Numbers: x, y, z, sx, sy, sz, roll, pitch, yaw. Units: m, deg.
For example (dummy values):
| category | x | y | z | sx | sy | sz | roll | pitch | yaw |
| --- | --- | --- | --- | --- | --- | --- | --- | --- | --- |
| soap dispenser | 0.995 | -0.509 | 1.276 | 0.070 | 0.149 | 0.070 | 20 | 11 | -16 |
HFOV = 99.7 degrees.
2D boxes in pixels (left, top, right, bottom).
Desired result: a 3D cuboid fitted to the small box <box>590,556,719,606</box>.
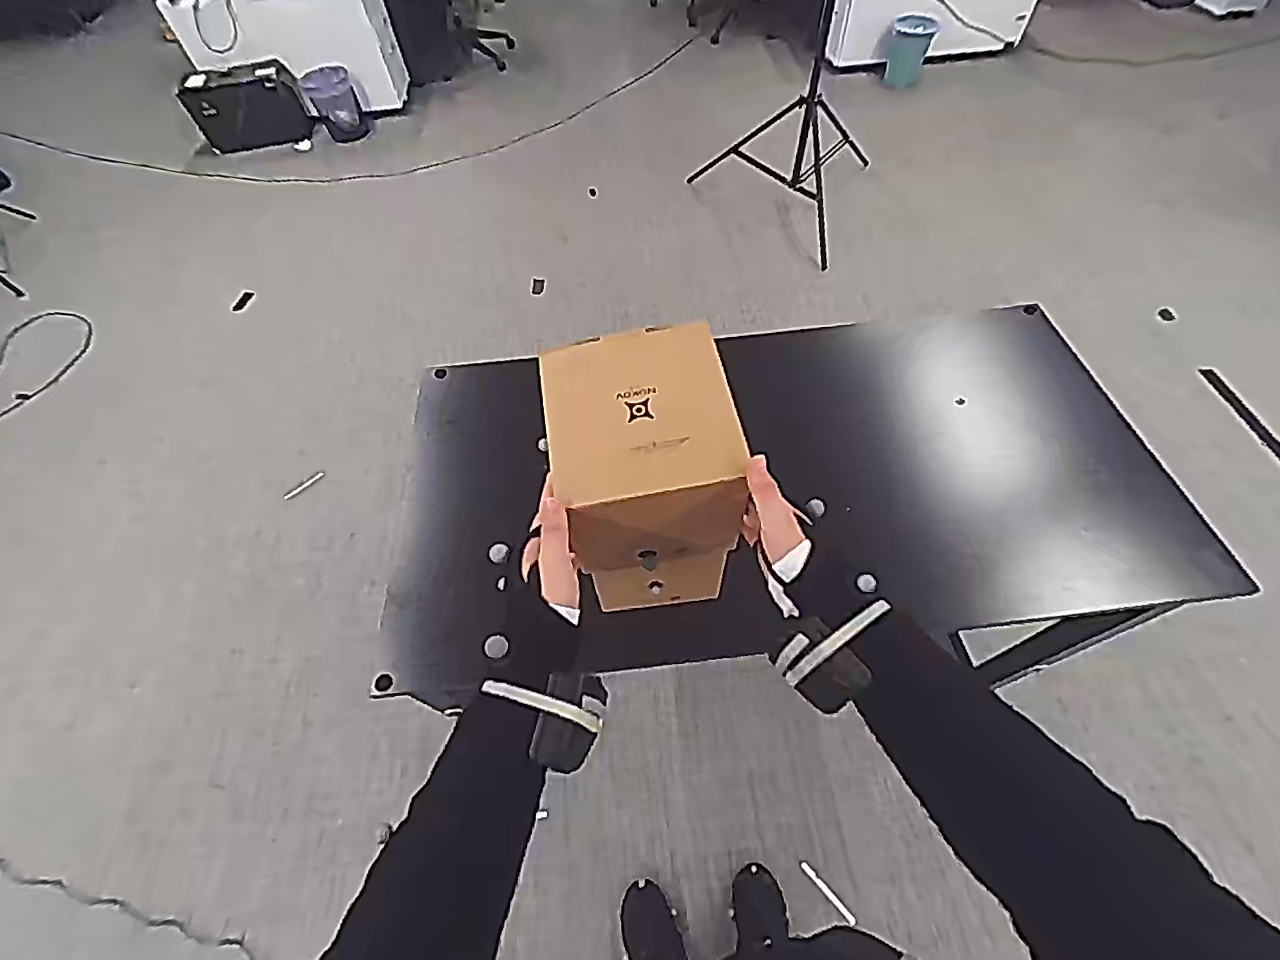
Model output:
| category | x | y | z | sx | sy | sz | roll | pitch | yaw |
| --- | --- | --- | --- | --- | --- | --- | --- | --- | --- |
| small box | 0.016 | 0.066 | 0.753 | 0.168 | 0.176 | 0.179 | -7 | 56 | -1 |

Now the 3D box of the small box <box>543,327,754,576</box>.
| category | x | y | z | sx | sy | sz | roll | pitch | yaw |
| --- | --- | --- | --- | --- | --- | --- | --- | --- | --- |
| small box | 0.004 | -0.022 | 0.543 | 0.168 | 0.176 | 0.179 | -10 | 63 | -1 |
